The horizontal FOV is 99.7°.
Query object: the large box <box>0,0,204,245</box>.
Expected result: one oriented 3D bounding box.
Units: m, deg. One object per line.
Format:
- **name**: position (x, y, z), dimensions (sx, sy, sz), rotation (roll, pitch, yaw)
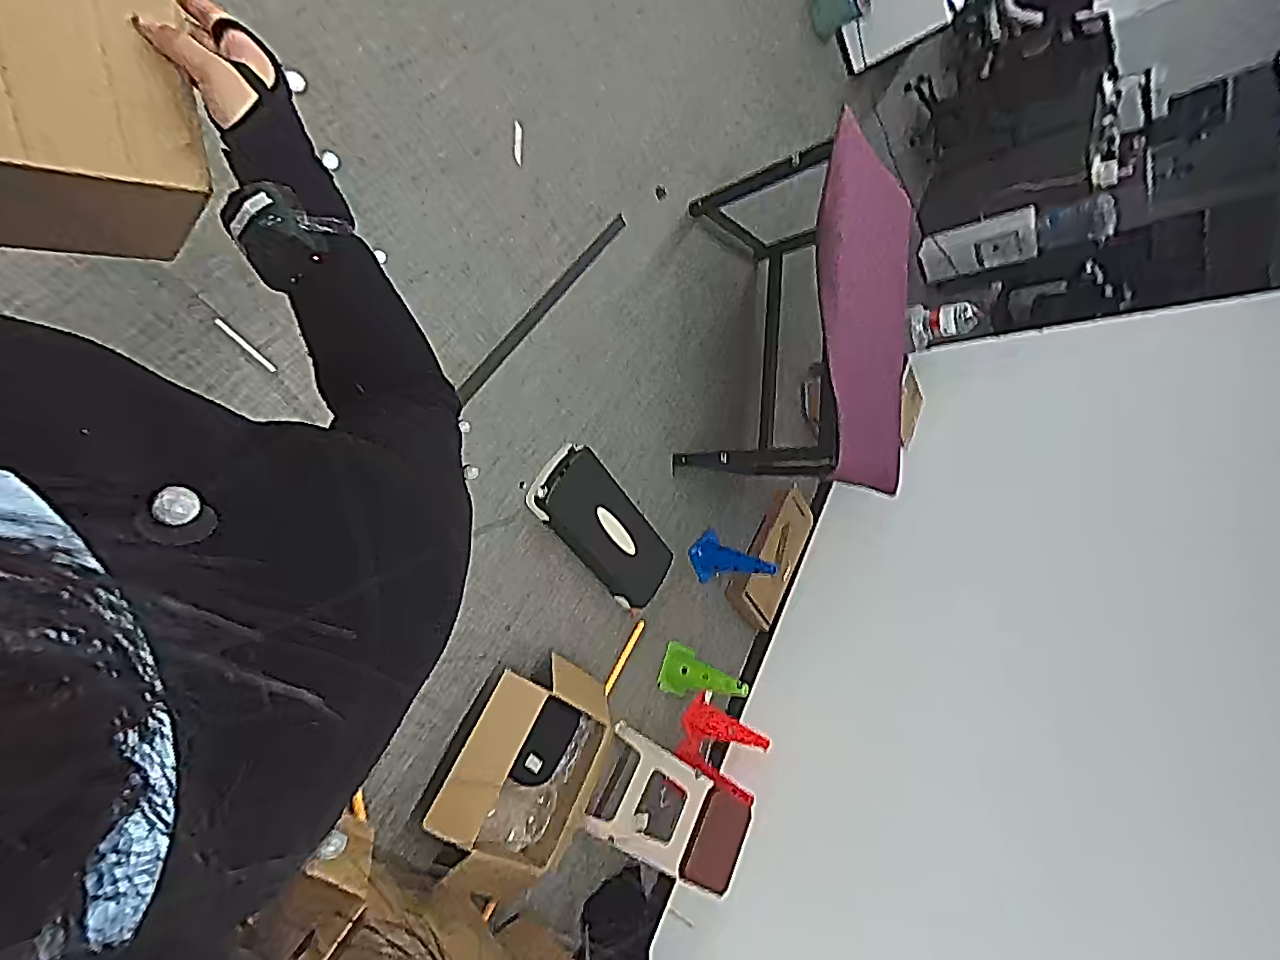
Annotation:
- **large box**: position (-0.606, -0.364, 0.375), dimensions (0.408, 0.320, 0.320), rotation (-16, 107, -43)
